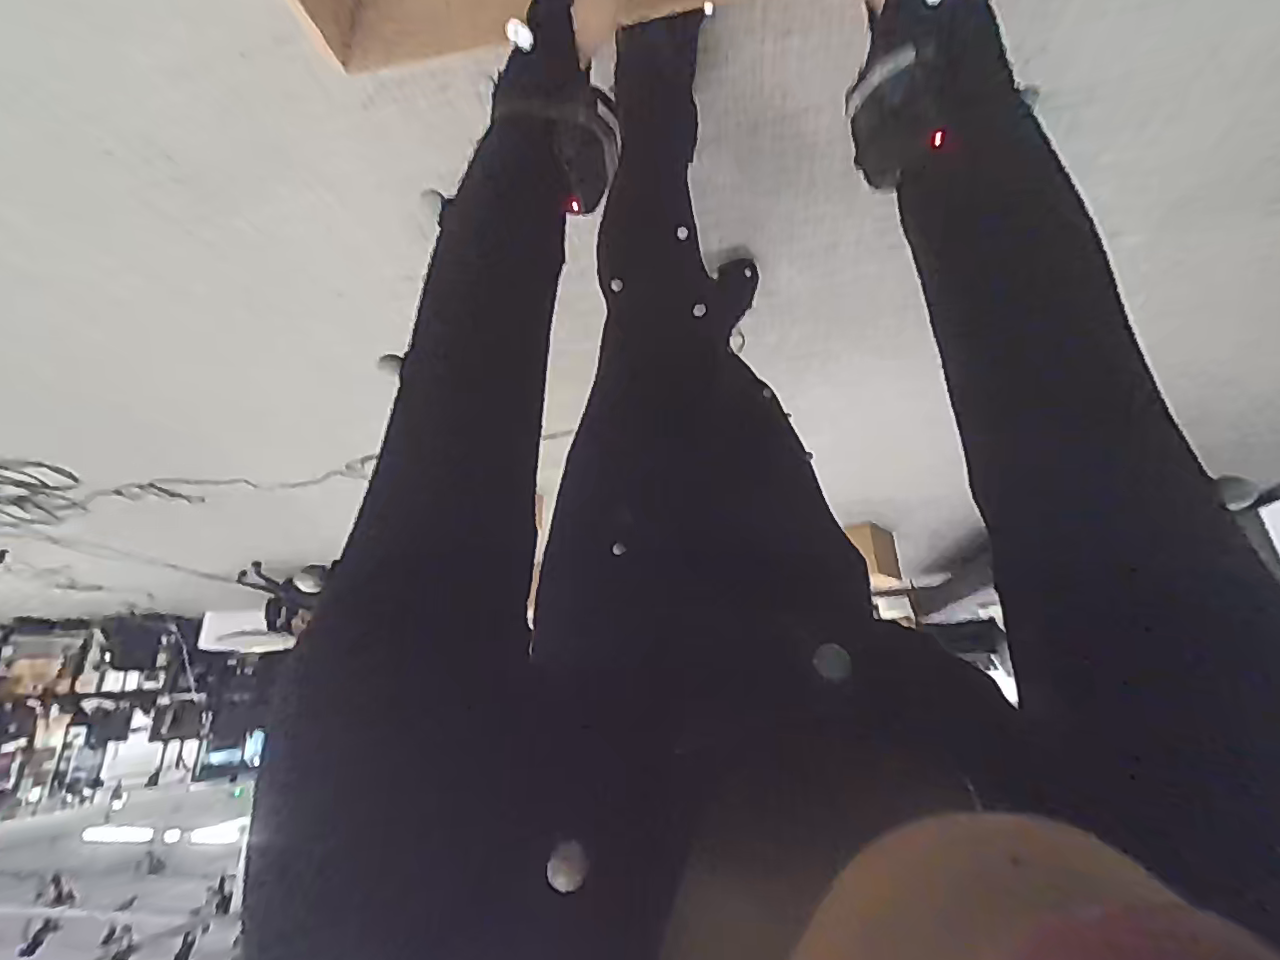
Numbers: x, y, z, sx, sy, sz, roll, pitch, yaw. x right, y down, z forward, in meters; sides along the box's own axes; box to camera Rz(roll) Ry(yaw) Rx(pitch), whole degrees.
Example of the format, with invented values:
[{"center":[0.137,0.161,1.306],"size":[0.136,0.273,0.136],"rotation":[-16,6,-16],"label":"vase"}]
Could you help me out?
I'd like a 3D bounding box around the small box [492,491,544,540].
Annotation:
[{"center":[-0.537,0.159,2.414],"size":[0.168,0.176,0.179],"rotation":[-10,157,18],"label":"small box"}]
